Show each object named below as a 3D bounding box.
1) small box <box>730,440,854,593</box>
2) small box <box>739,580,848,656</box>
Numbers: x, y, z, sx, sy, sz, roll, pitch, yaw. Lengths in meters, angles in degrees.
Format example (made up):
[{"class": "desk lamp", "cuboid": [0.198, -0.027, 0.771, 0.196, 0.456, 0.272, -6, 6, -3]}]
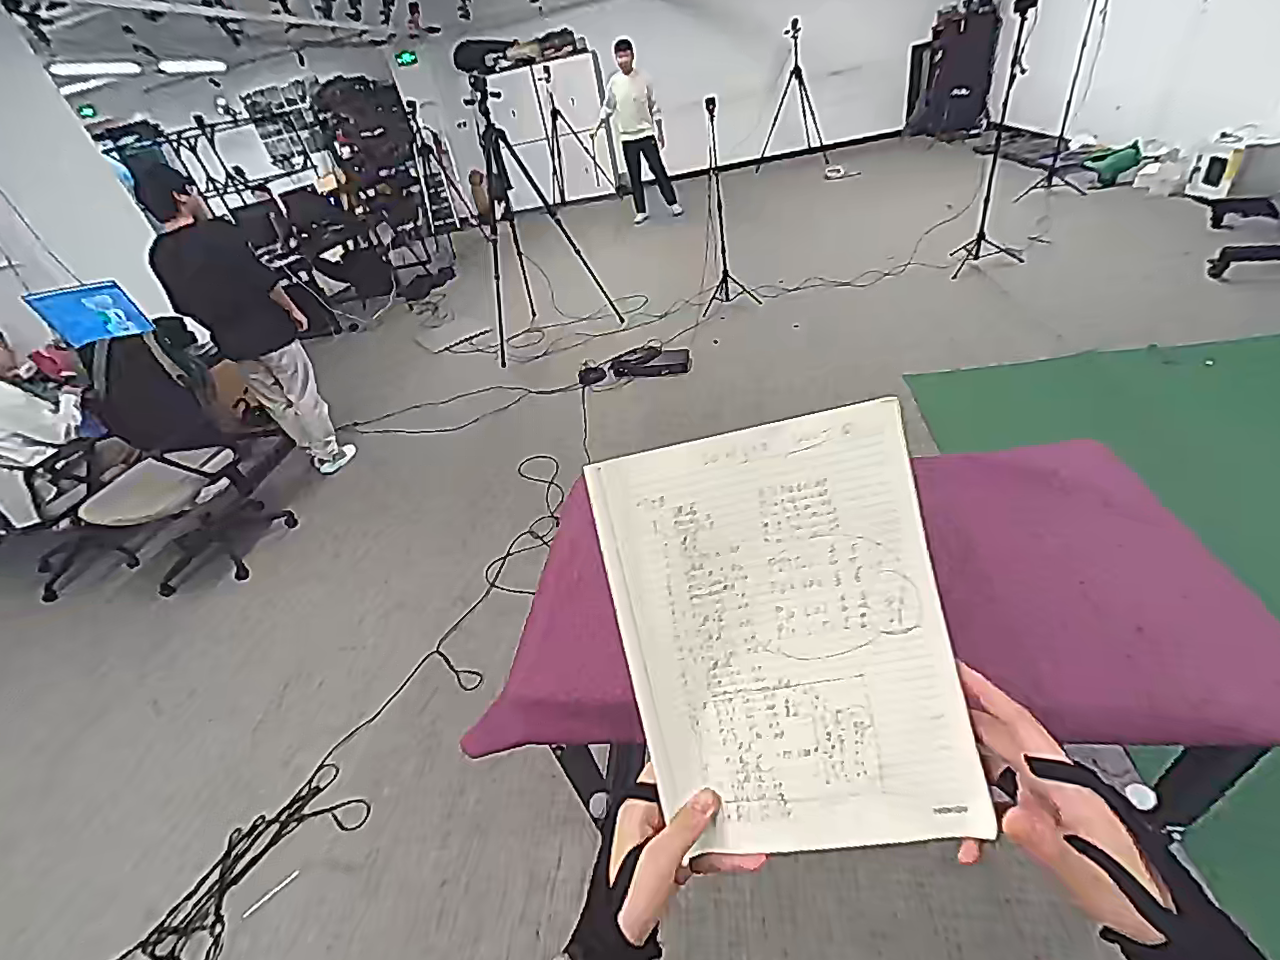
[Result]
[{"class": "small box", "cuboid": [0.230, 0.060, 0.834, 0.168, 0.176, 0.179, -4, 36, 12]}, {"class": "small box", "cuboid": [0.261, 0.187, 0.936, 0.168, 0.176, 0.179, -4, 38, 12]}]
